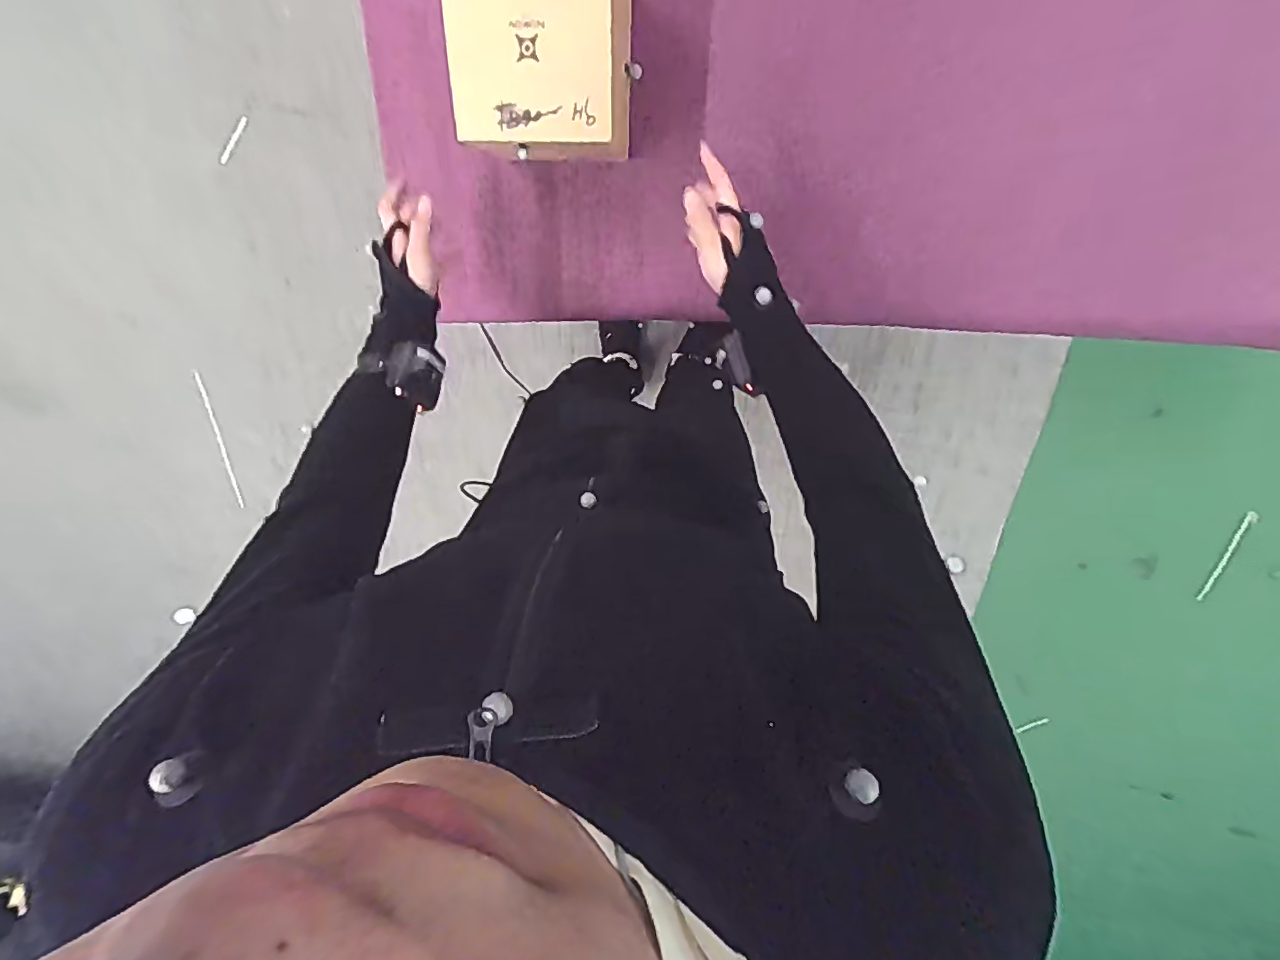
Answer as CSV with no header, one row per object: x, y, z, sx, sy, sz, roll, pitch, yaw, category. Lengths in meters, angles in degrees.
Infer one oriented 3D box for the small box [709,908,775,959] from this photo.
0.295,1.394,1.569,0.168,0.176,0.179,7,115,1,small box

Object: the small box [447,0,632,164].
-0.100,-0.464,0.598,0.168,0.176,0.179,4,114,4,small box
